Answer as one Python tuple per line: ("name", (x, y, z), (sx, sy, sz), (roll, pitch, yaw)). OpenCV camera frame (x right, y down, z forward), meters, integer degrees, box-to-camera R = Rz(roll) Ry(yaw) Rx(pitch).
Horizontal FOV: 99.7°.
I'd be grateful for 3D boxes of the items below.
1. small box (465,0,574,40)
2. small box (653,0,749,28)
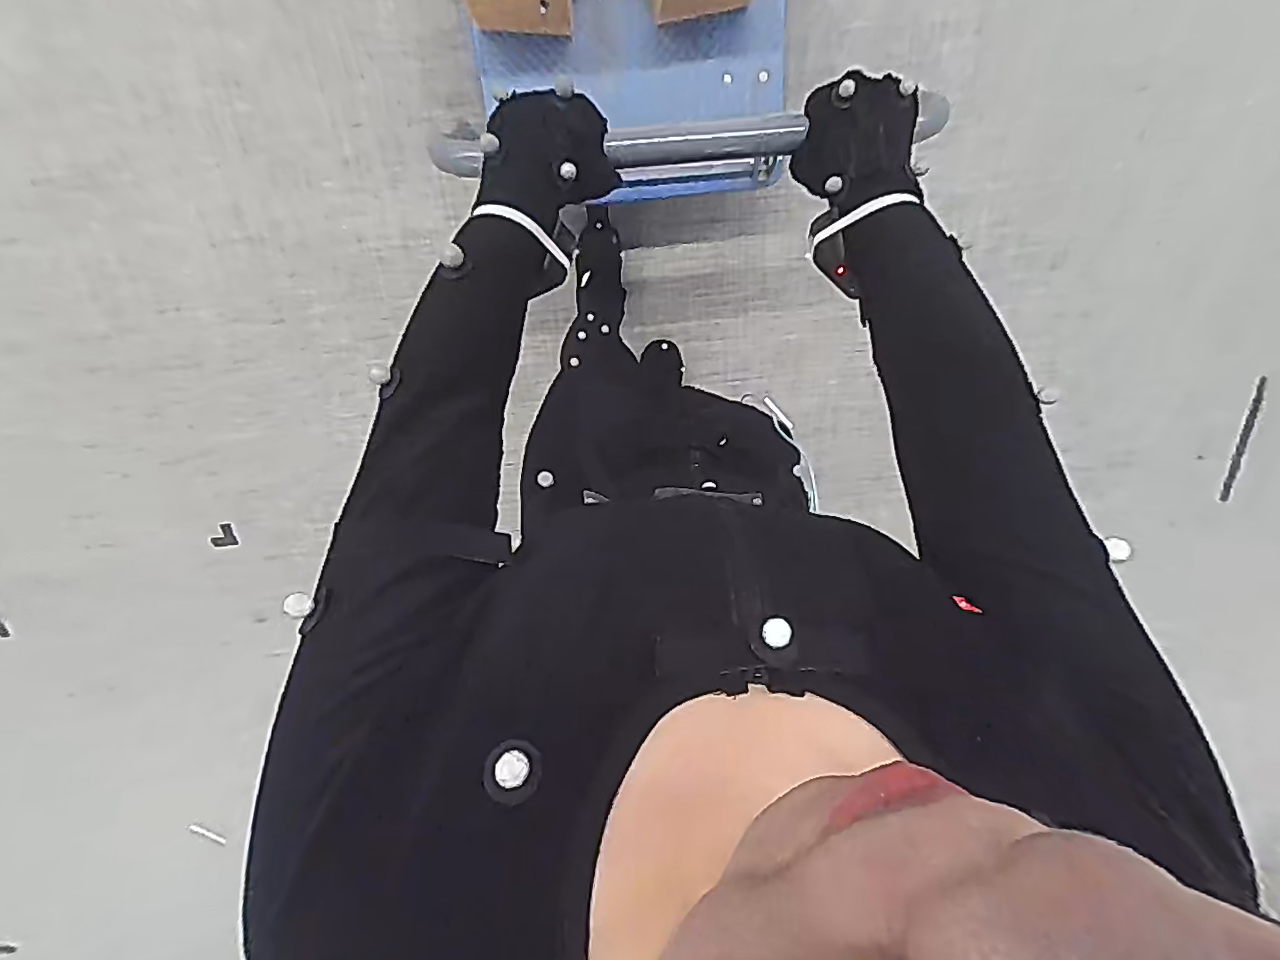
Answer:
("small box", (-0.201, -0.849, 0.881), (0.179, 0.176, 0.168), (-1, 113, -5))
("small box", (0.103, -0.883, 0.886), (0.179, 0.176, 0.168), (-11, 113, 1))
